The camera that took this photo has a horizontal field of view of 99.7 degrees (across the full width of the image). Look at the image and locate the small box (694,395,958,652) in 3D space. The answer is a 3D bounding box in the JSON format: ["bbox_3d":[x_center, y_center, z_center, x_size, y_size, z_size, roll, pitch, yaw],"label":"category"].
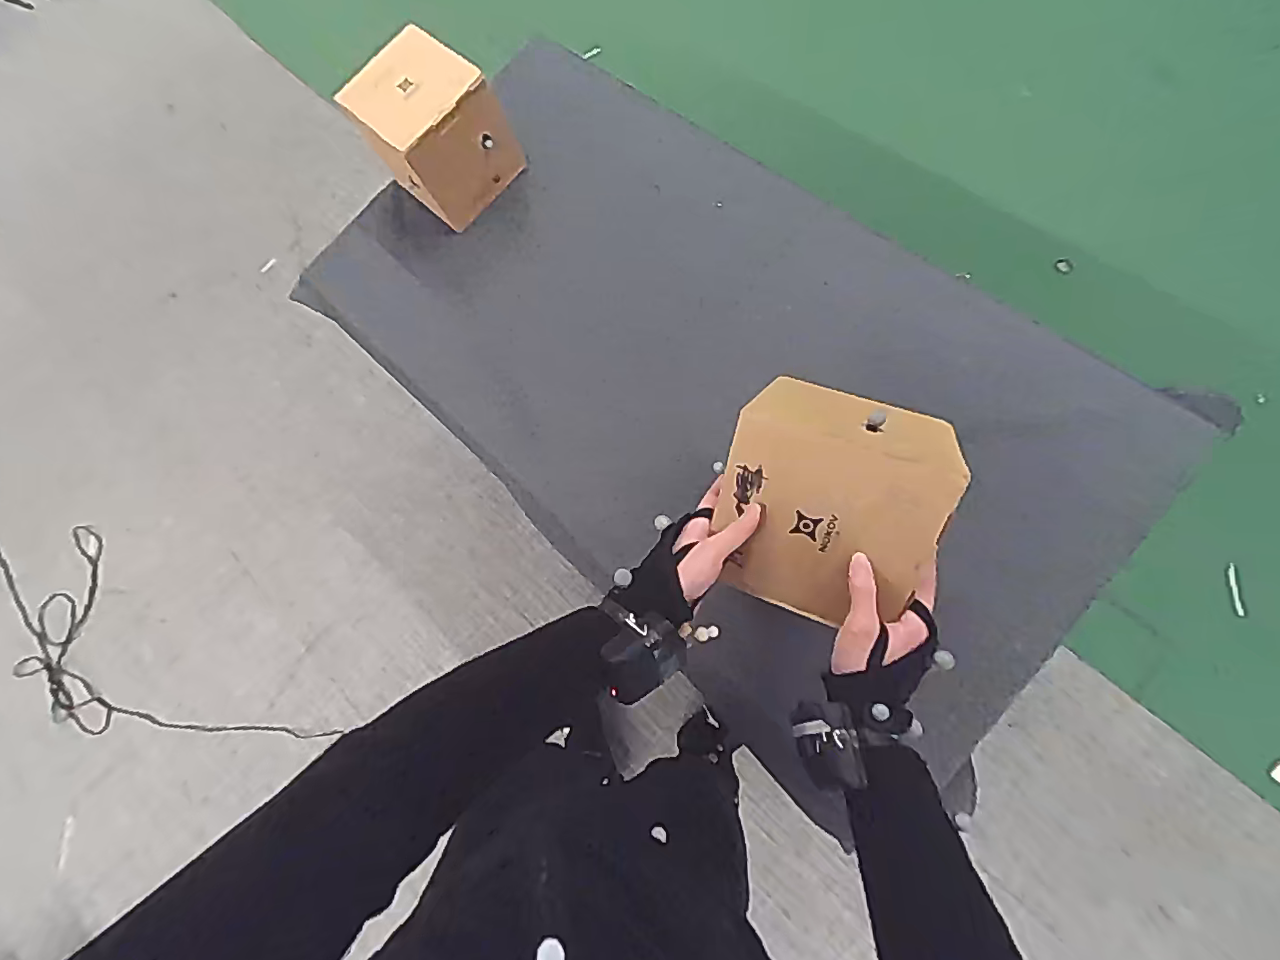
[{"bbox_3d":[0.174,0.025,0.526,0.179,0.176,0.168,19,115,16],"label":"small box"}]

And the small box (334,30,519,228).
[{"bbox_3d":[-0.319,-0.533,0.846,0.168,0.176,0.179,-45,74,-5],"label":"small box"}]
